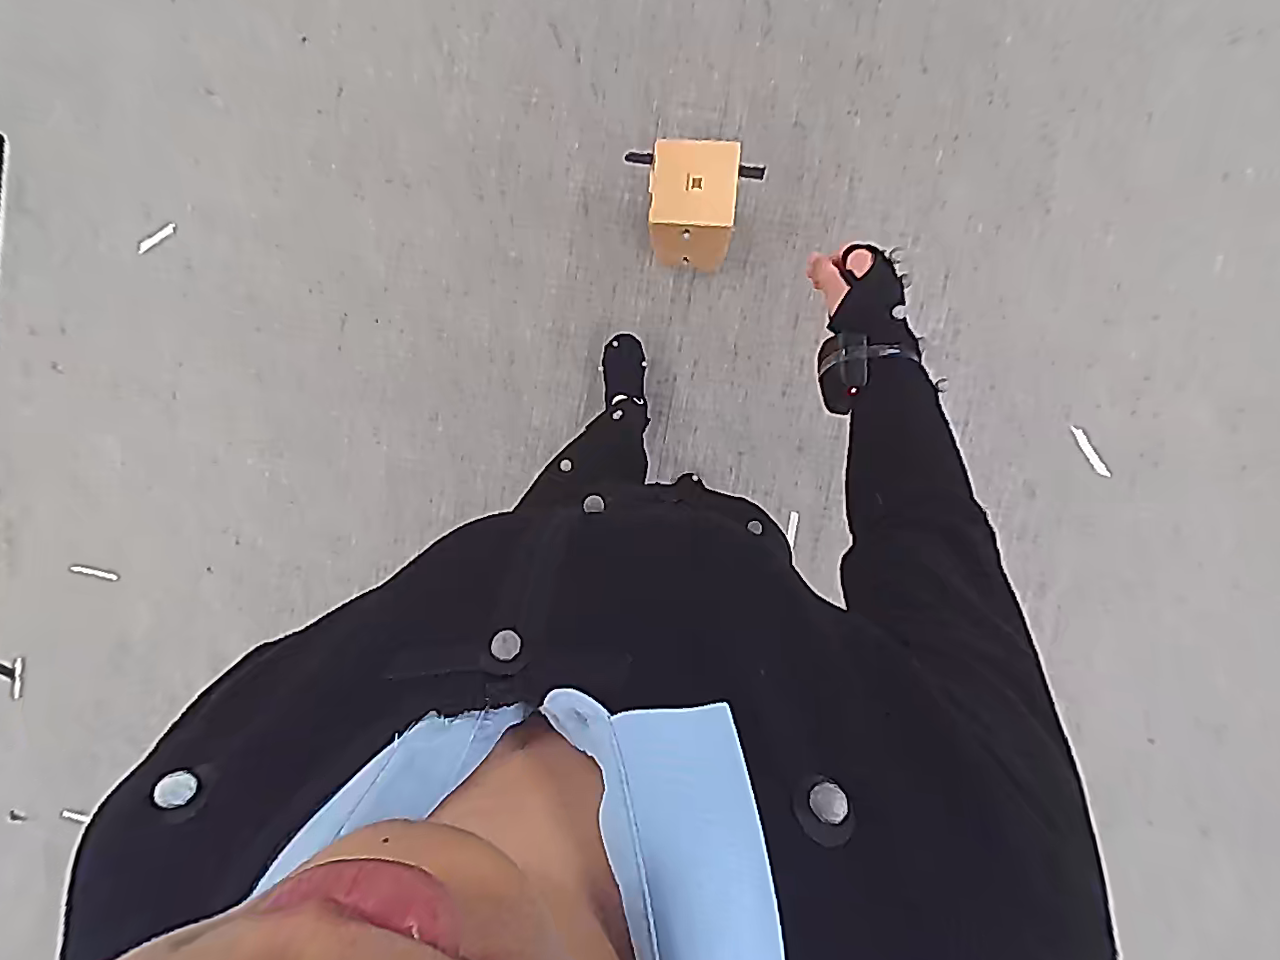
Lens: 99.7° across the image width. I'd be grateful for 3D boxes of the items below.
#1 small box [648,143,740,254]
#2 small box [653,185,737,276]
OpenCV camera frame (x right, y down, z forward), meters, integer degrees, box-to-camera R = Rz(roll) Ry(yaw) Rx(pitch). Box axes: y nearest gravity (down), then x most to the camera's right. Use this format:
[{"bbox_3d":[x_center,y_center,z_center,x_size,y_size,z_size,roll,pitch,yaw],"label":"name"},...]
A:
[{"bbox_3d":[0.115,-0.605,1.180,0.179,0.176,0.168,5,95,5],"label":"small box"},{"bbox_3d":[0.136,-0.626,1.341,0.168,0.176,0.179,13,95,3],"label":"small box"}]
